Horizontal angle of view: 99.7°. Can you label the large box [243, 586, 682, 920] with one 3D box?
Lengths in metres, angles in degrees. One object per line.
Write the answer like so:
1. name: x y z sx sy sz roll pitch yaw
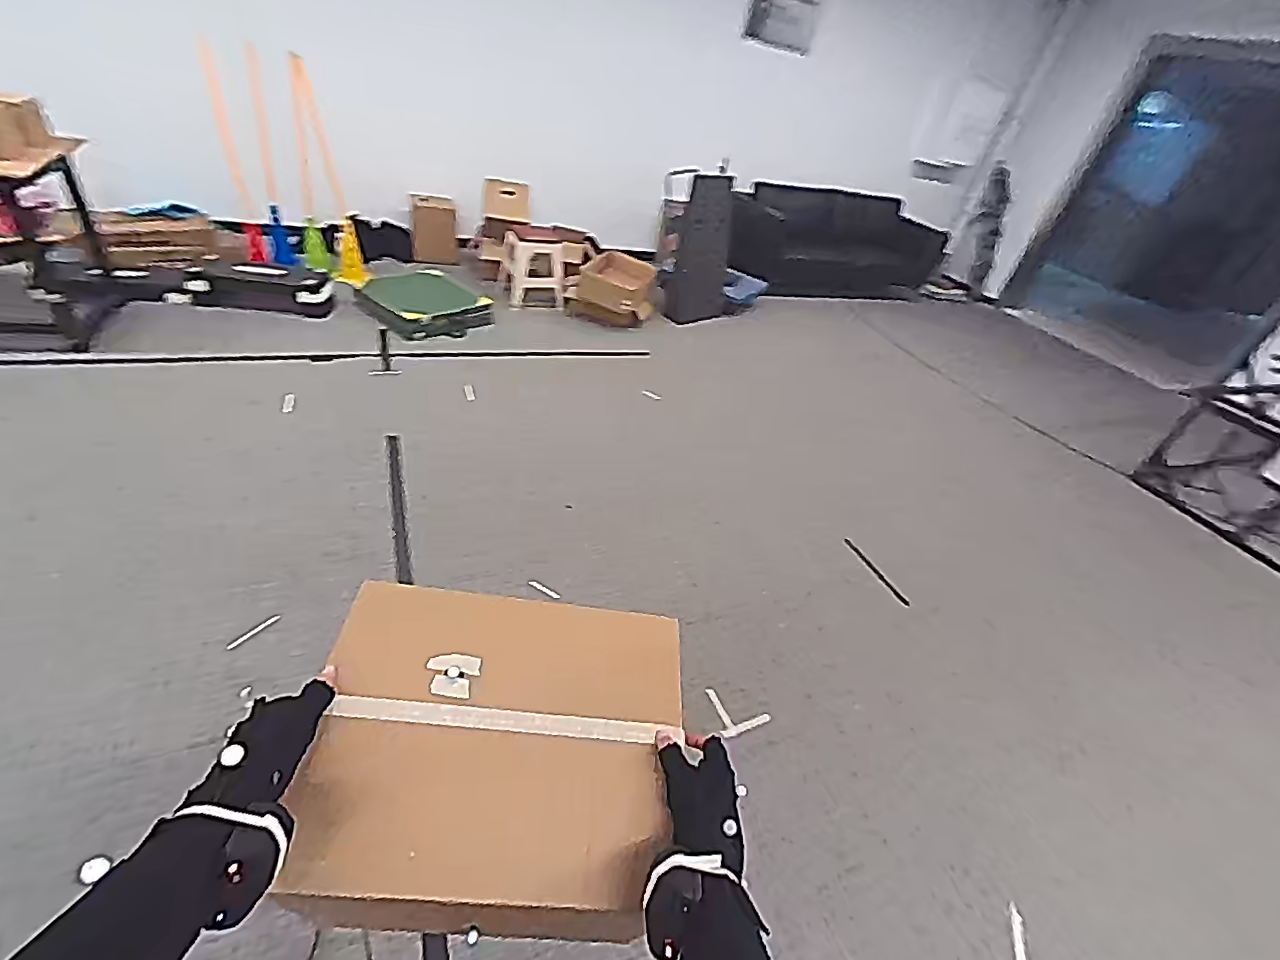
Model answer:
1. large box: -0.180 0.367 0.707 0.408 0.320 0.320 8 45 -8
